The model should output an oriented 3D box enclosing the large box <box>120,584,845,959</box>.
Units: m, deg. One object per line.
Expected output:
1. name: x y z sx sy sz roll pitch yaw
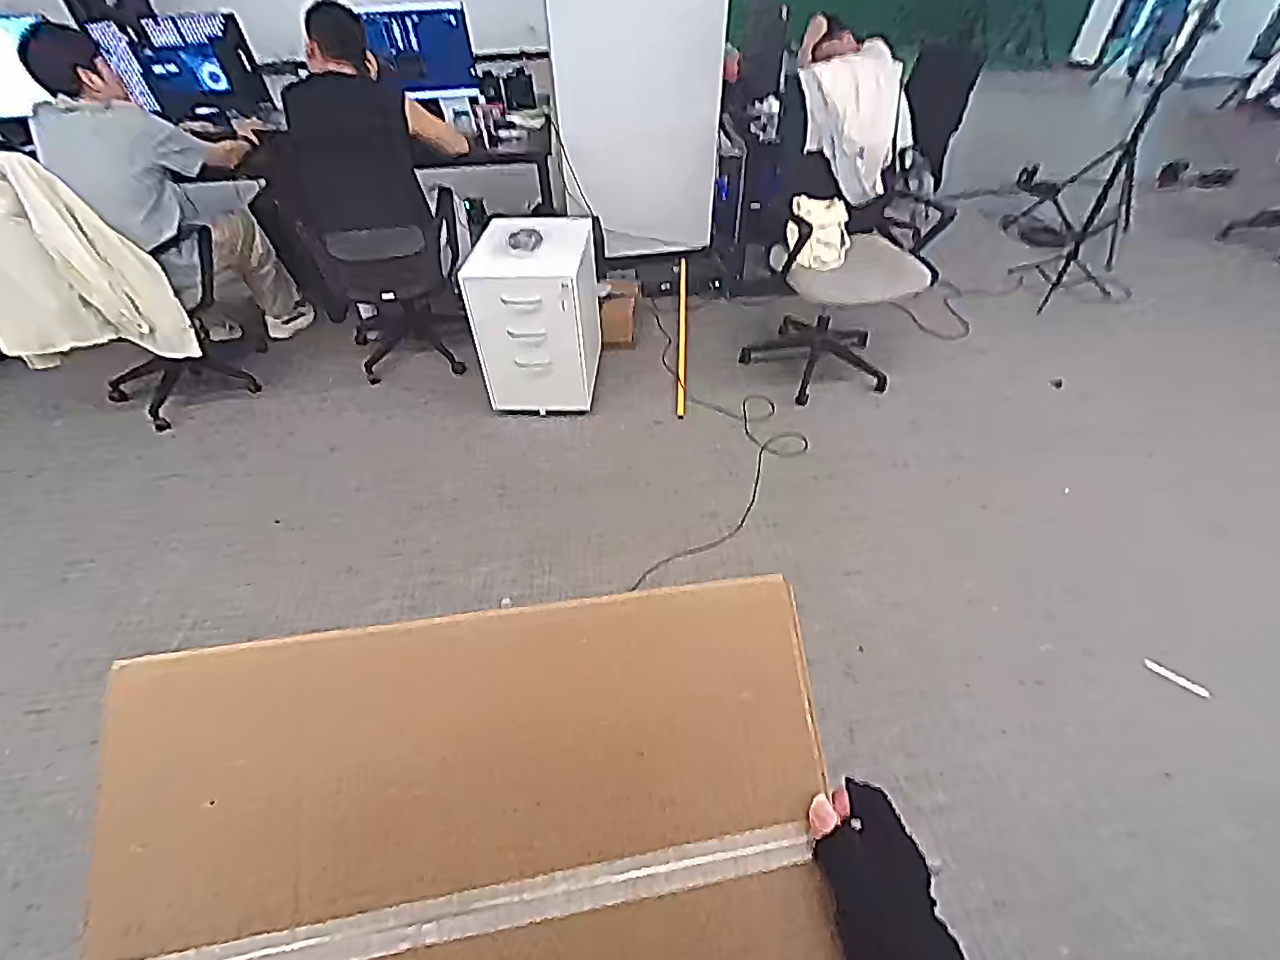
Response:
1. large box: -0.097 0.278 0.460 0.408 0.320 0.320 -6 76 -9
